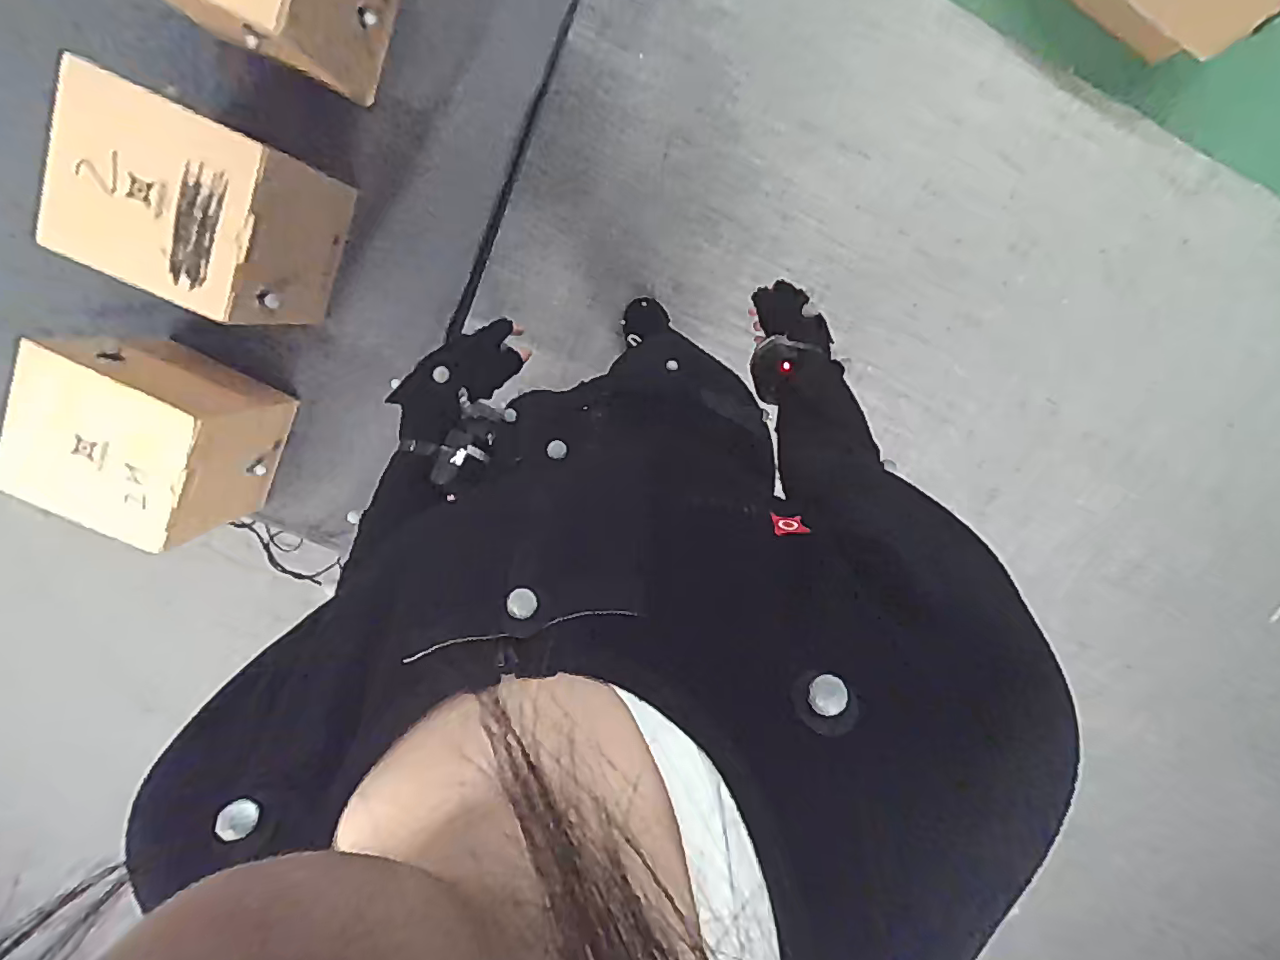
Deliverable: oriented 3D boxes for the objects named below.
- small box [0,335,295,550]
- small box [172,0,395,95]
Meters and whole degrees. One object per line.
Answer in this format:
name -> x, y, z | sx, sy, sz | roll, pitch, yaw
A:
small box -> -0.550, -0.051, 0.621 | 0.179, 0.176, 0.168 | 26, 104, -7
small box -> -0.353, -0.504, 0.501 | 0.179, 0.176, 0.168 | 22, 104, -8
